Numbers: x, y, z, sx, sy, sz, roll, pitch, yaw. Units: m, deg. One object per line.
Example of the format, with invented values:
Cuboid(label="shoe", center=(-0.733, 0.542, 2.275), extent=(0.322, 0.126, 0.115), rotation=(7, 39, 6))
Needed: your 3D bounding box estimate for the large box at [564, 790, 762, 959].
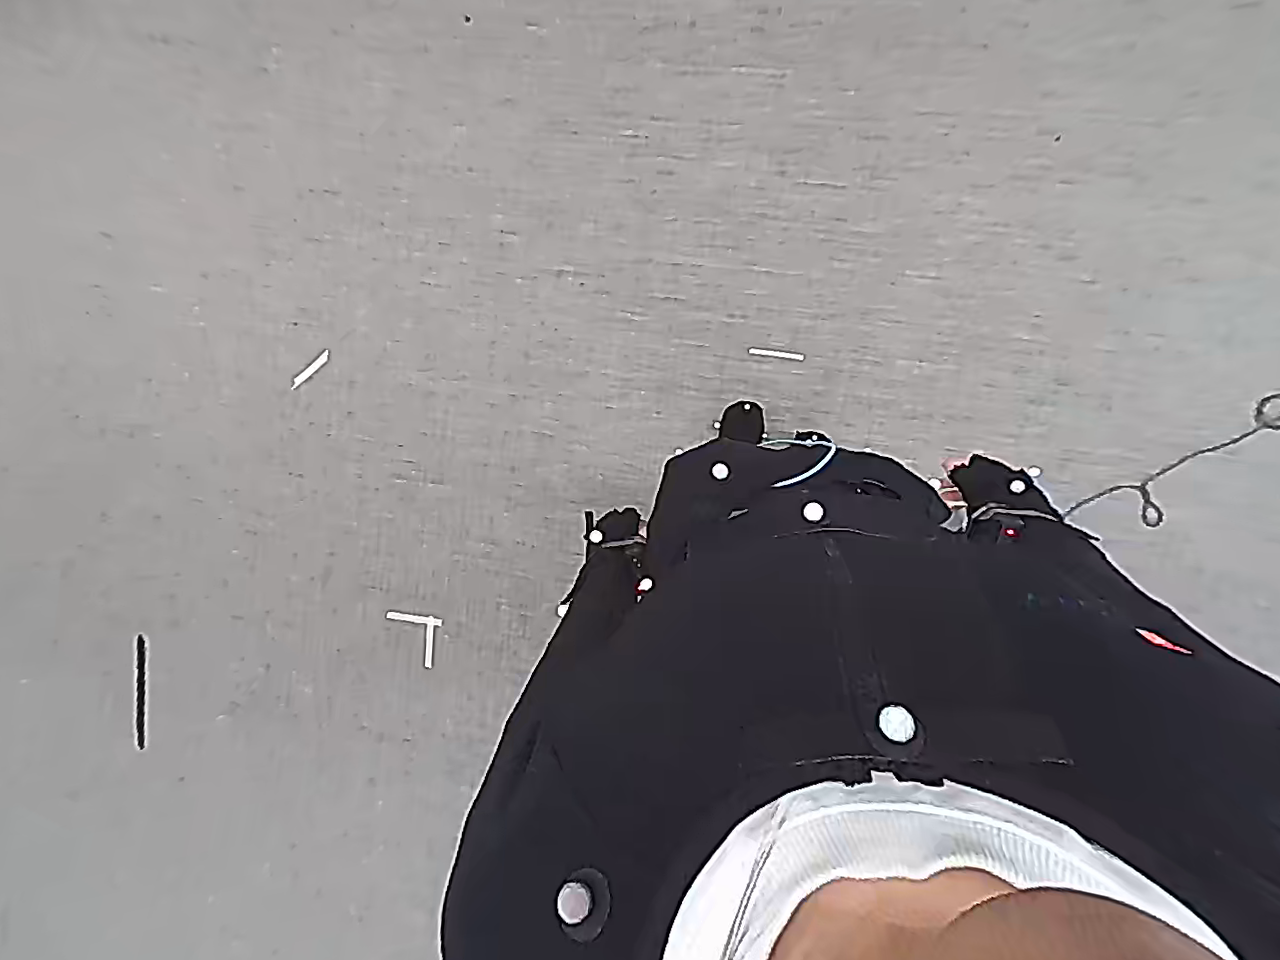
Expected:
Cuboid(label="large box", center=(0.070, 1.120, 1.421), extent=(0.408, 0.320, 0.320), rotation=(24, 97, 7))
